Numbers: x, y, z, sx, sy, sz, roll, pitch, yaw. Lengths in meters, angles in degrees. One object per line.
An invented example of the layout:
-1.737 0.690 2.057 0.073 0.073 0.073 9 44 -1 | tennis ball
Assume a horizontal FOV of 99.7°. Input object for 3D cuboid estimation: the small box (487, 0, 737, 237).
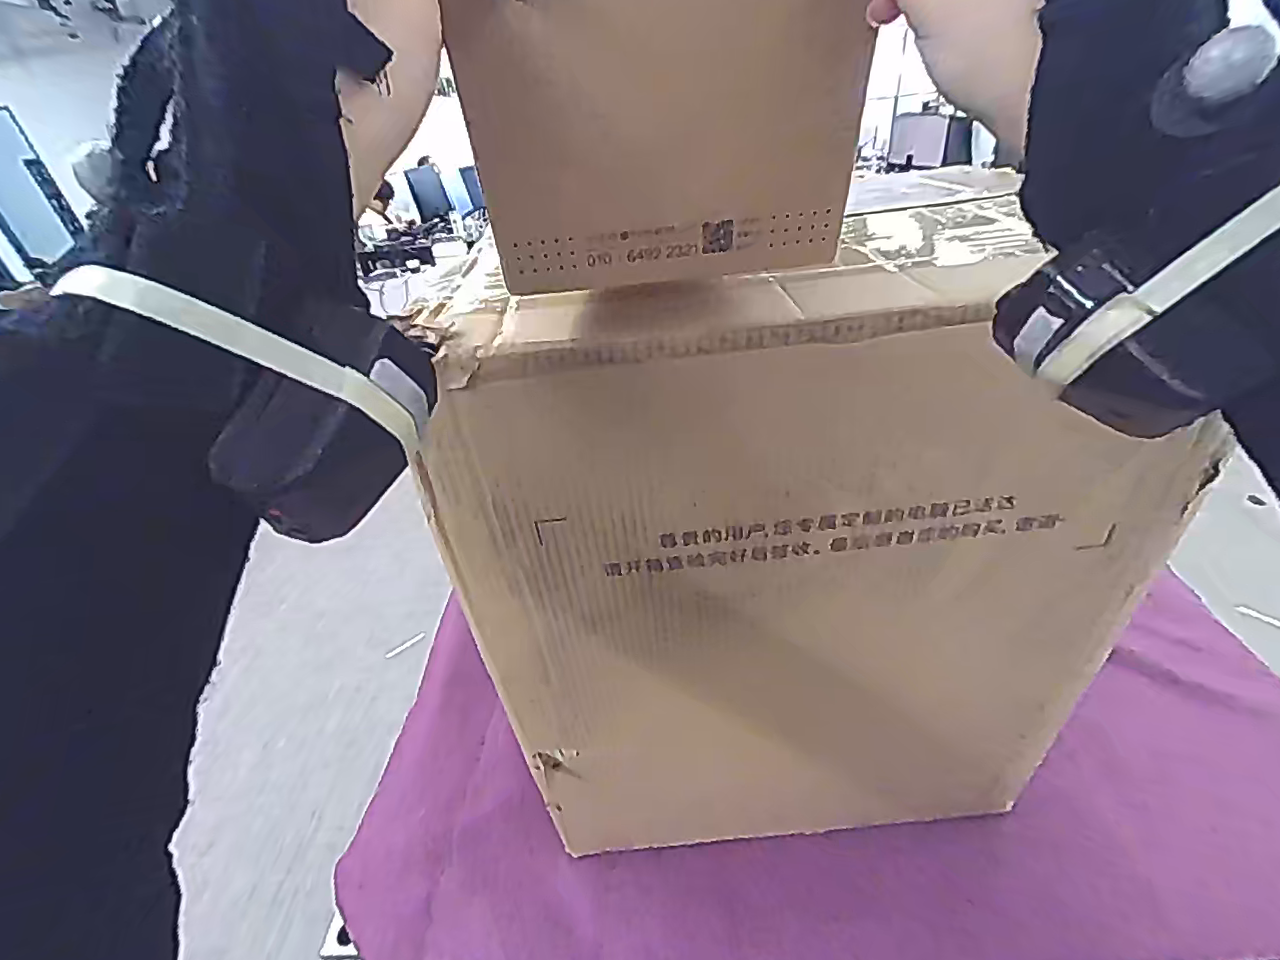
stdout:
-0.017 -0.314 0.462 0.179 0.176 0.168 -6 35 -2 | small box
